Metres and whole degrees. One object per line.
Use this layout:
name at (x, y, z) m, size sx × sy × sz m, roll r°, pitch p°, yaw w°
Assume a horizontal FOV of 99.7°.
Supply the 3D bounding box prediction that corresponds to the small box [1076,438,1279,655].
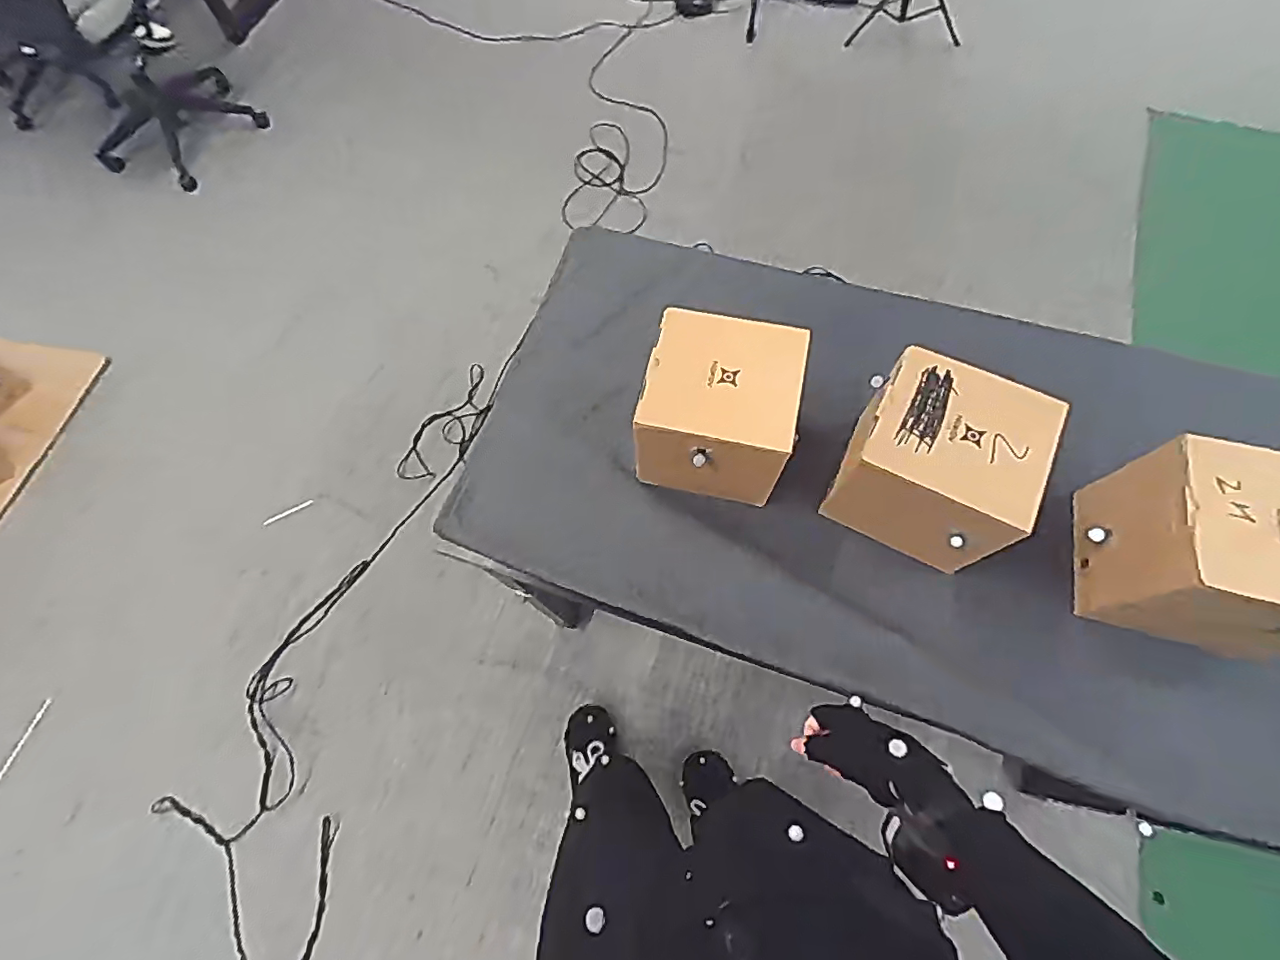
small box at (0.621, 0.081, 0.581) m, size 0.179 × 0.176 × 0.168 m, roll 14°, pitch 68°, yaw 10°

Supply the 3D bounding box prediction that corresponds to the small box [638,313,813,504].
small box at (0.103, -0.081, 0.686) m, size 0.179 × 0.176 × 0.168 m, roll 11°, pitch 68°, yaw 8°
